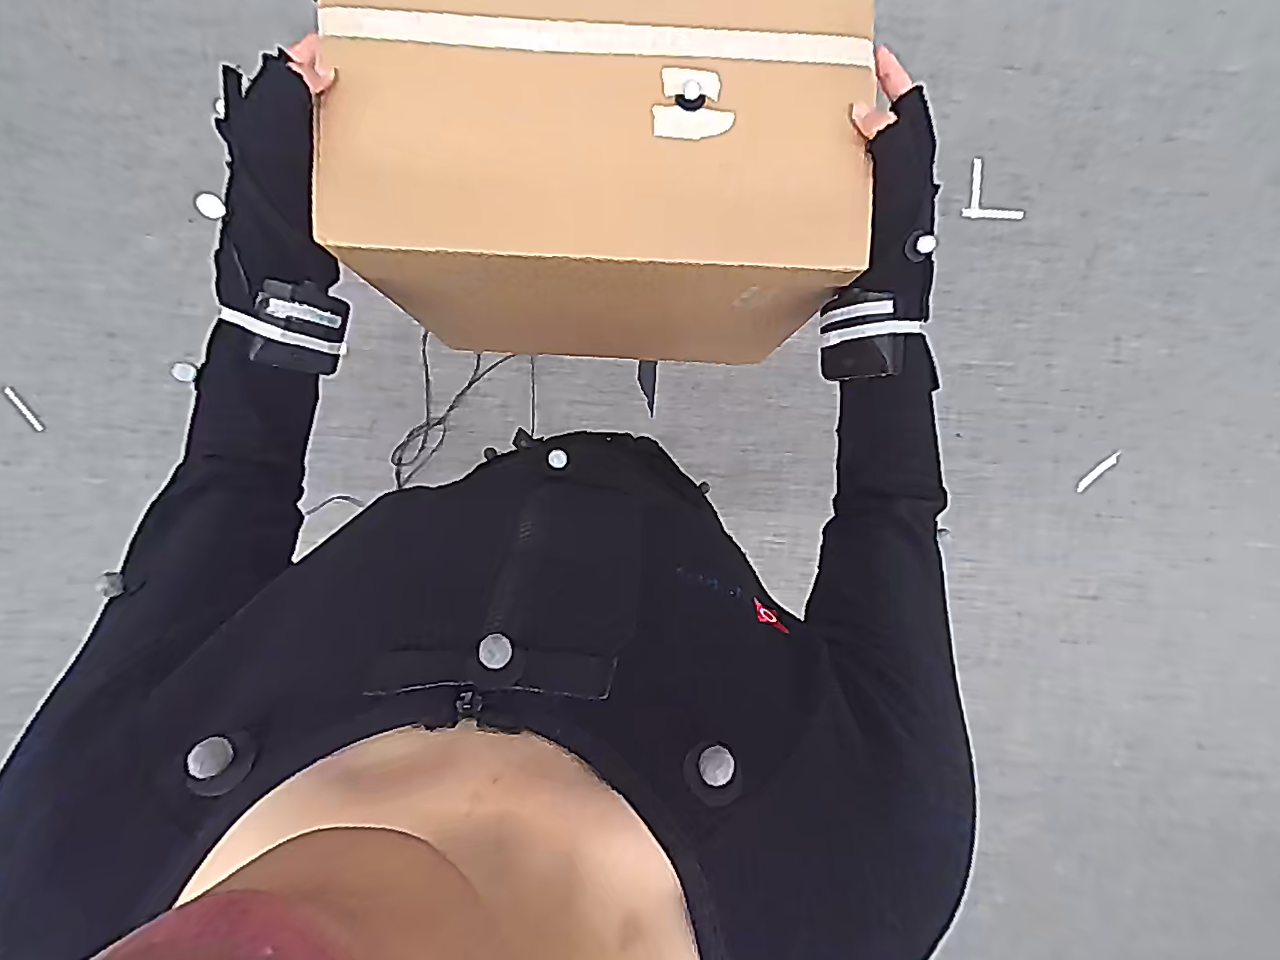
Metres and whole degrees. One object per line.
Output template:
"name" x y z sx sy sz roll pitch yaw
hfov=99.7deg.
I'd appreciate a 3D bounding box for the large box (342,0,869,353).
"large box" -0.029 -0.324 0.561 0.408 0.320 0.320 2 90 -2
